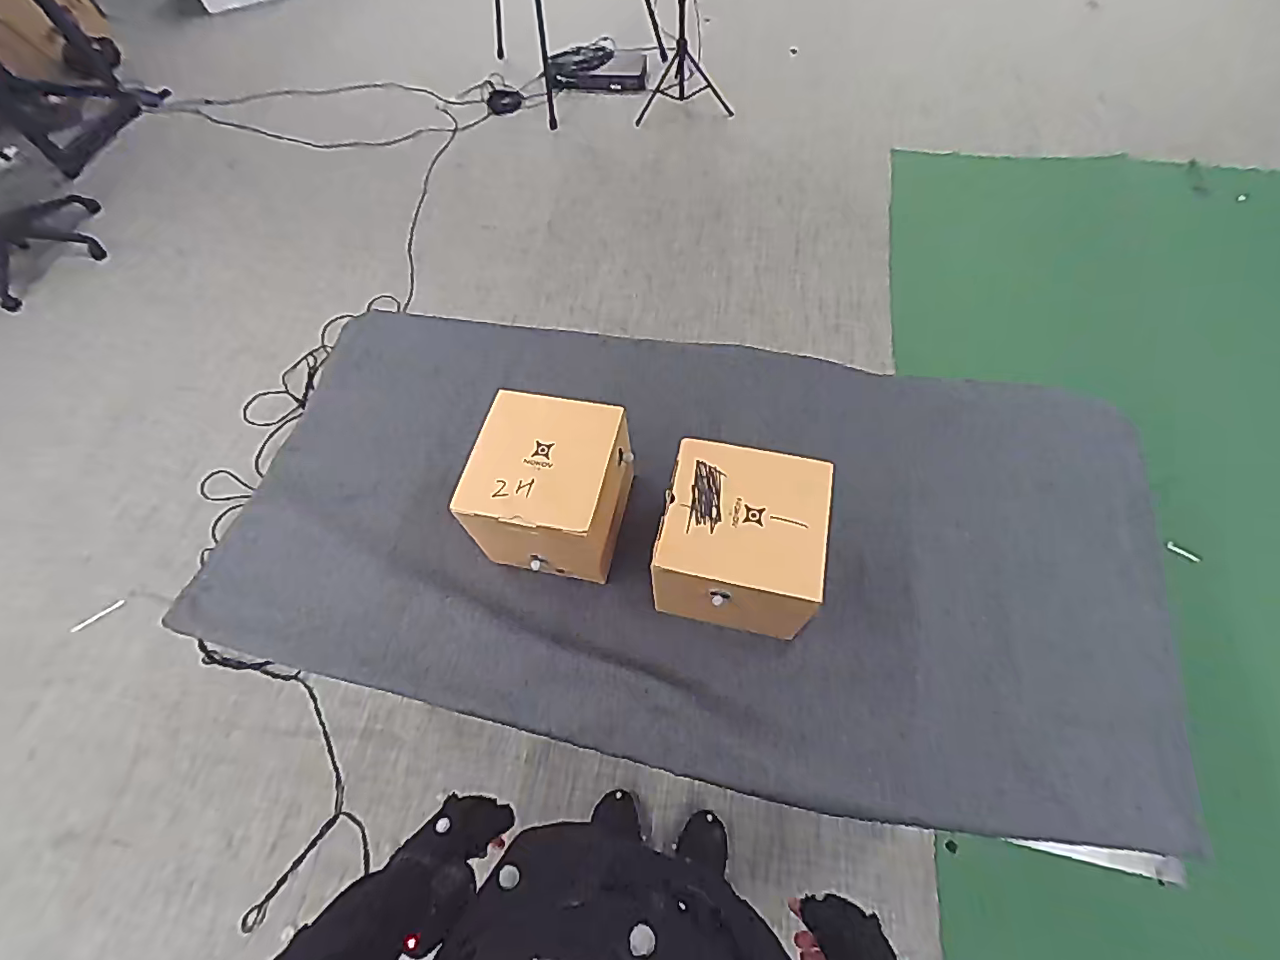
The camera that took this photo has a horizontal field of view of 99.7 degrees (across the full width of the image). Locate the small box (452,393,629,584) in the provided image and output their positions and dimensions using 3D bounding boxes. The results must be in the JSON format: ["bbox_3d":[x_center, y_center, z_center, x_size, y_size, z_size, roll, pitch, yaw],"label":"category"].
[{"bbox_3d":[-0.112,0.015,0.707,0.168,0.176,0.179,9,62,9],"label":"small box"}]
